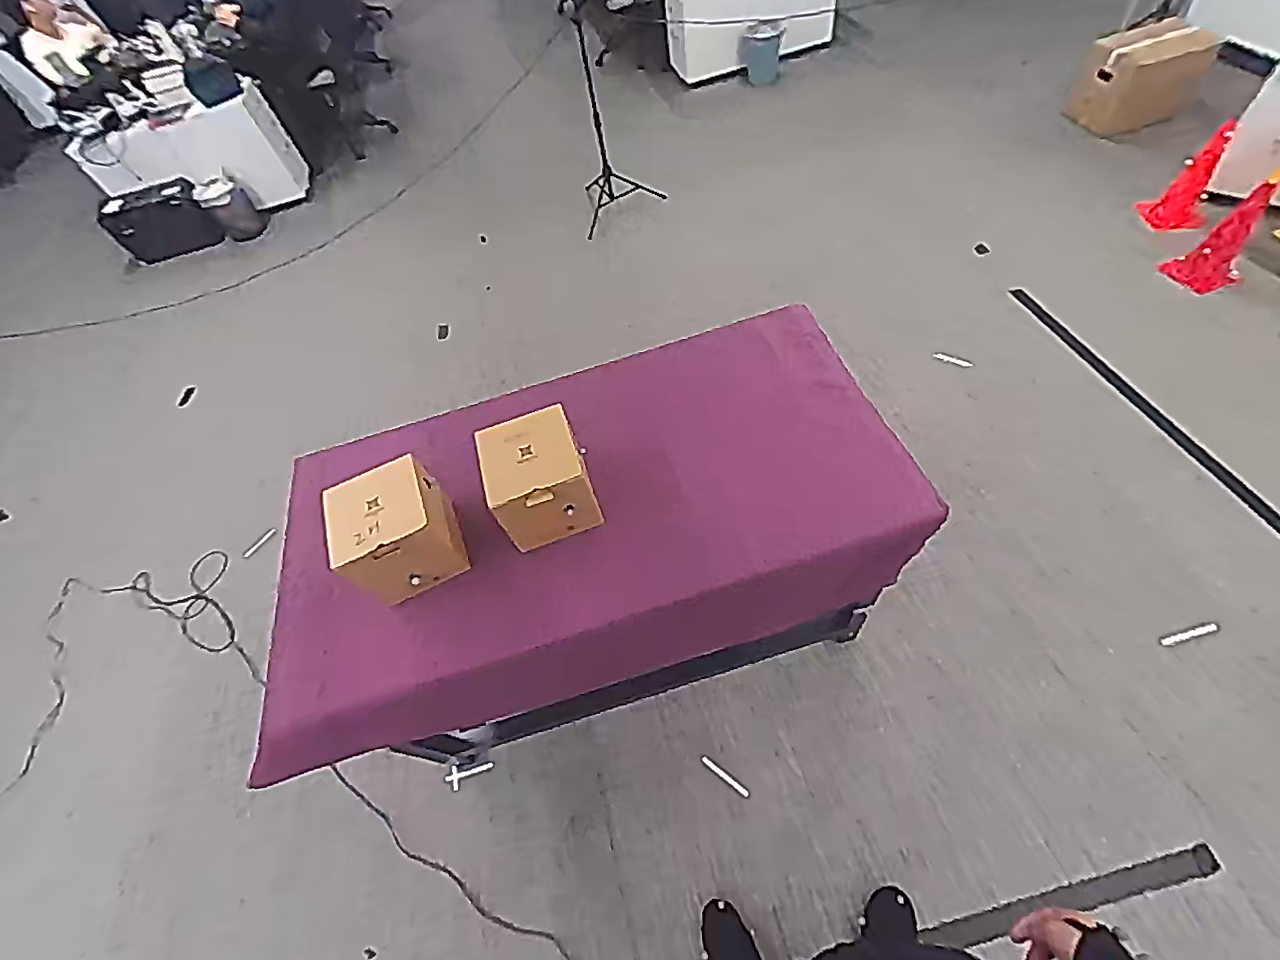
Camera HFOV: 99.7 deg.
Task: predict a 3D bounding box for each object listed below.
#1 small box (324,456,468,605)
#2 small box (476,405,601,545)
[{"bbox_3d":[-0.434,0.094,0.972,0.168,0.176,0.179,-26,56,-6],"label":"small box"},{"bbox_3d":[-0.182,-0.001,0.990,0.168,0.176,0.179,-19,55,-3],"label":"small box"}]
